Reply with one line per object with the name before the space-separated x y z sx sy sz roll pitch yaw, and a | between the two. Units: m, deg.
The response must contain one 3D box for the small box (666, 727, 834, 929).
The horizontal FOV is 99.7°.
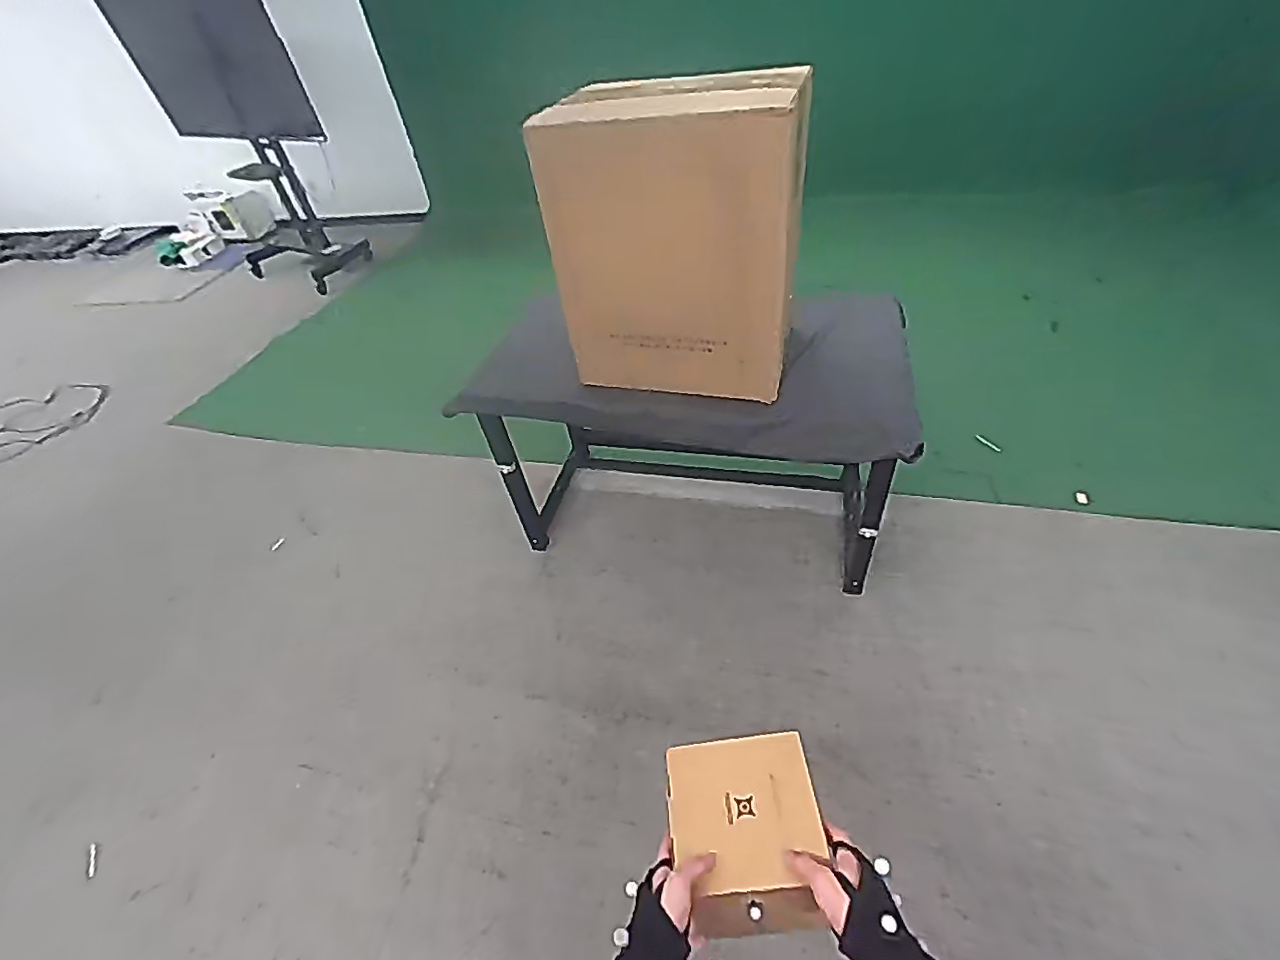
small box | 0.137 0.447 0.694 0.179 0.176 0.168 -10 38 5
